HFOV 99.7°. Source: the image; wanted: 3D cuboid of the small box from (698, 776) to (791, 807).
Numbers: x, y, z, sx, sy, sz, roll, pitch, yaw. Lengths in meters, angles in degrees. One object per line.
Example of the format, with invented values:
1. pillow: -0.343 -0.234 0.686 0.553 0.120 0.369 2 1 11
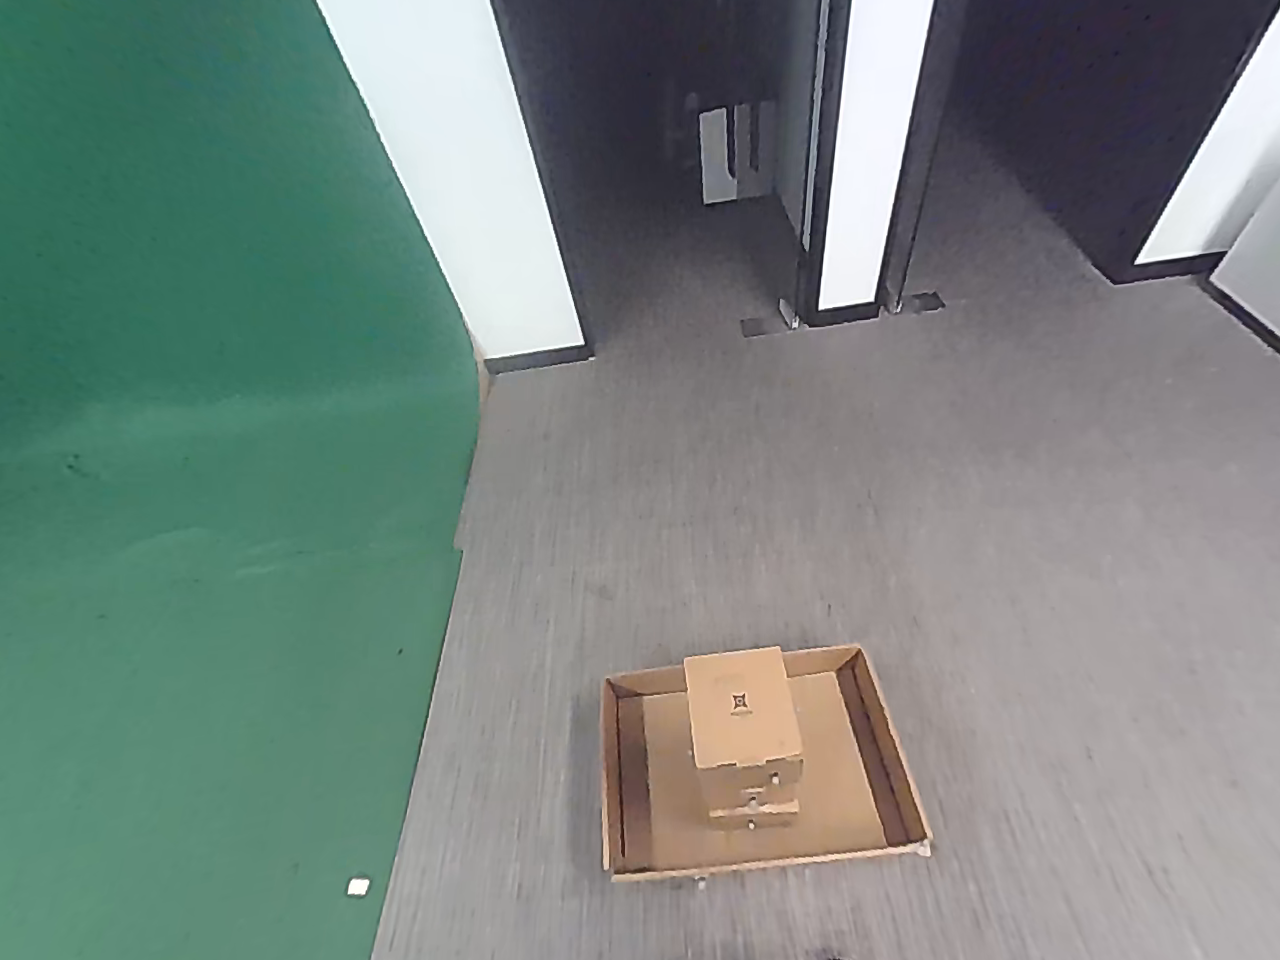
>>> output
1. small box: 0.194 0.526 1.062 0.168 0.176 0.179 -11 48 4

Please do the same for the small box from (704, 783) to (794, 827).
1. small box: 0.226 0.641 1.170 0.179 0.176 0.168 -7 48 7

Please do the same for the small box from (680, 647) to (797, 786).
1. small box: 0.165 0.410 0.925 0.168 0.176 0.179 -8 47 4
